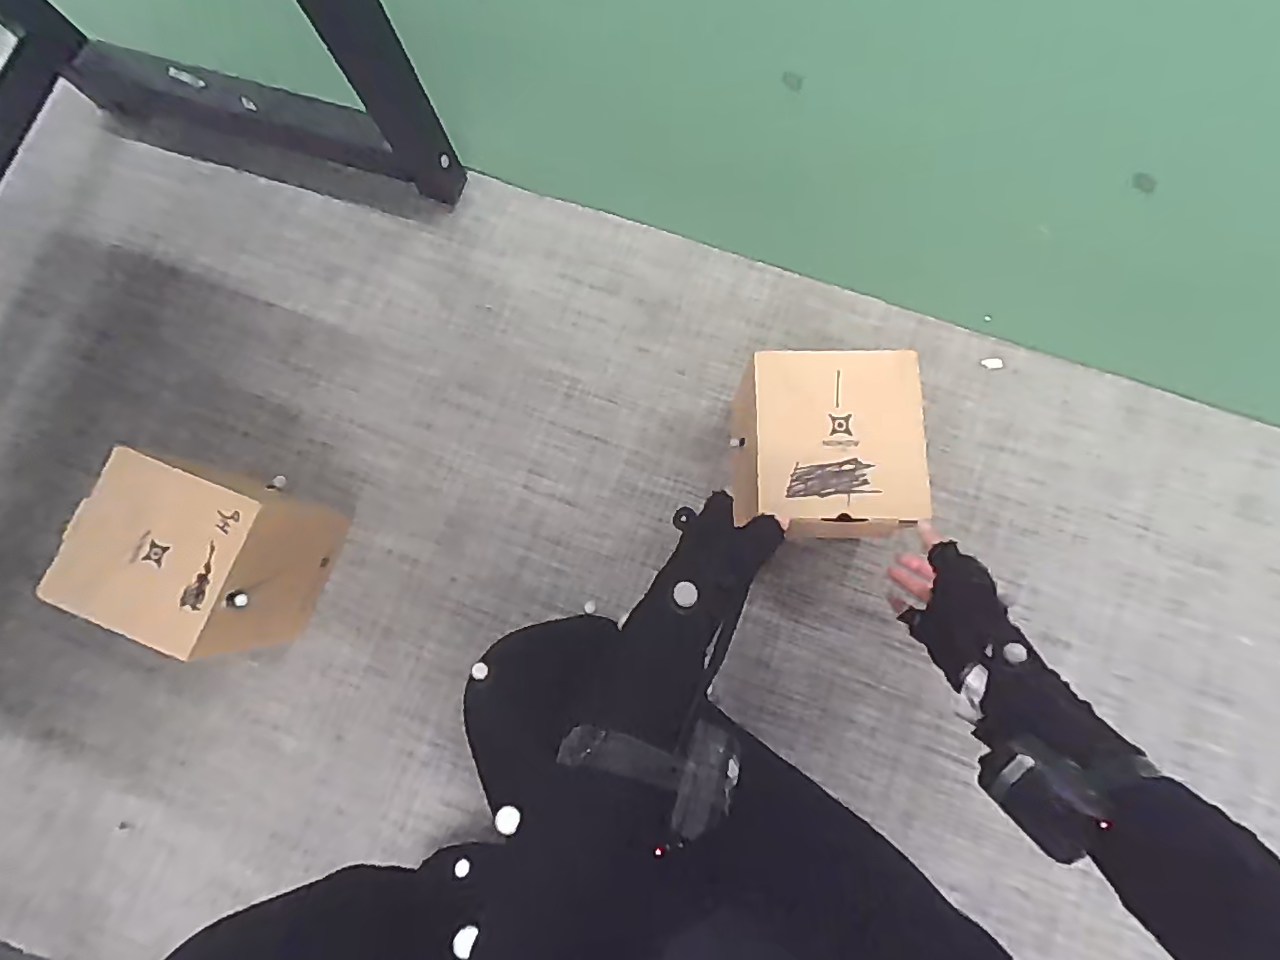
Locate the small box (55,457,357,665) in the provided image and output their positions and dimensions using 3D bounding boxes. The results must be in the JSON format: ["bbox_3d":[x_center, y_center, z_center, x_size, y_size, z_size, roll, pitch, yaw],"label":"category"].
[{"bbox_3d":[-0.476,0.092,0.622,0.179,0.176,0.168,20,83,7],"label":"small box"}]
